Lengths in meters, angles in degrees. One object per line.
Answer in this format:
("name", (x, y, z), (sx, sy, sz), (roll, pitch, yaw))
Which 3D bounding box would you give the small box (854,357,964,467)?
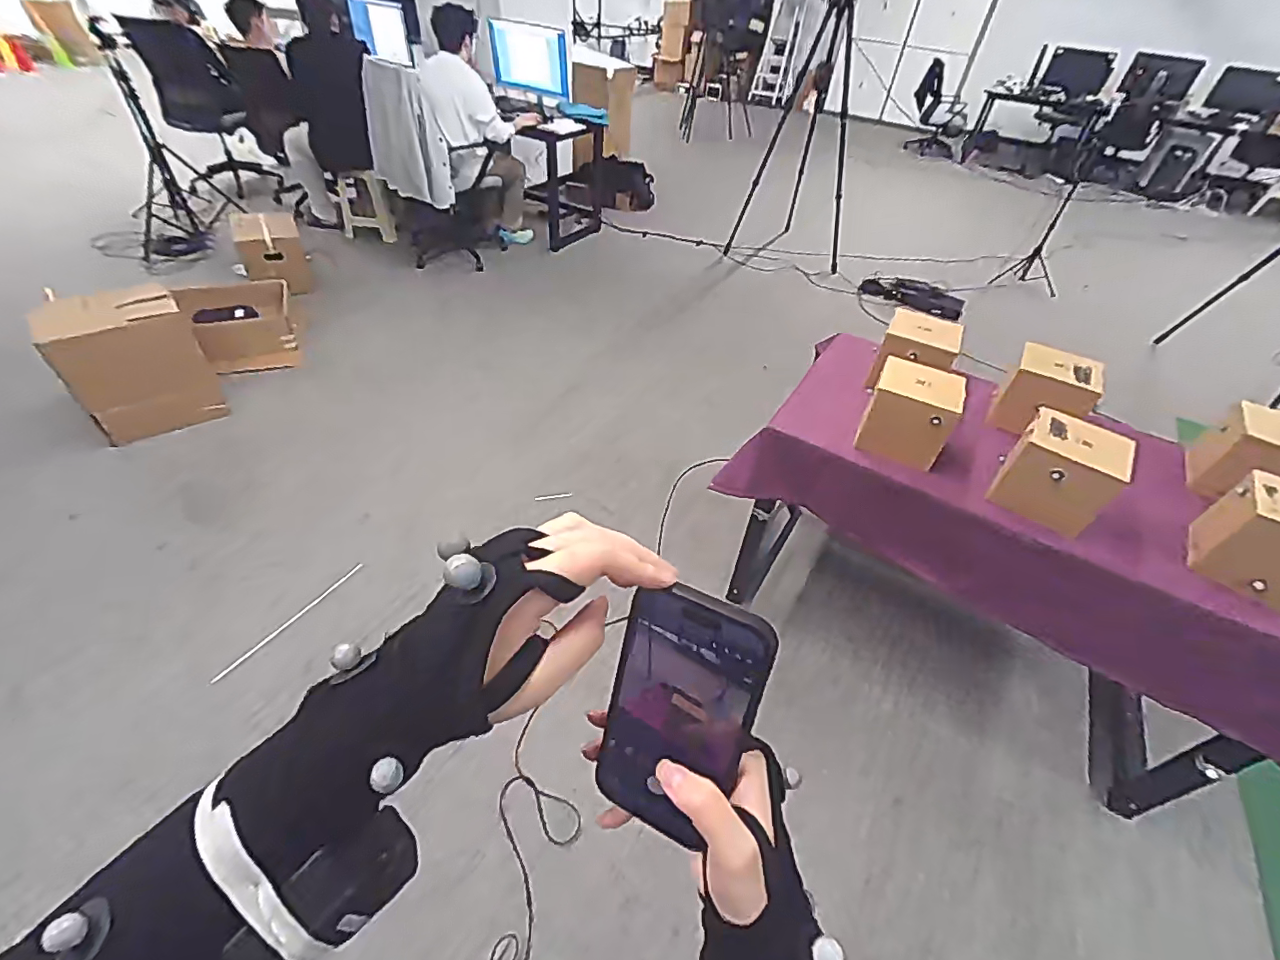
("small box", (0.619, -0.156, 1.256), (0.179, 0.176, 0.168), (23, 46, 15))

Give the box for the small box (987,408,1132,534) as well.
("small box", (0.874, -0.017, 1.138), (0.179, 0.176, 0.168), (32, 49, 24))

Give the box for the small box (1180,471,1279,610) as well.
("small box", (1.202, 0.120, 1.031), (0.179, 0.176, 0.168), (33, 49, 25))

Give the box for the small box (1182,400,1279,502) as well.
("small box", (1.385, -0.046, 1.225), (0.168, 0.176, 0.179), (29, 49, 23))
